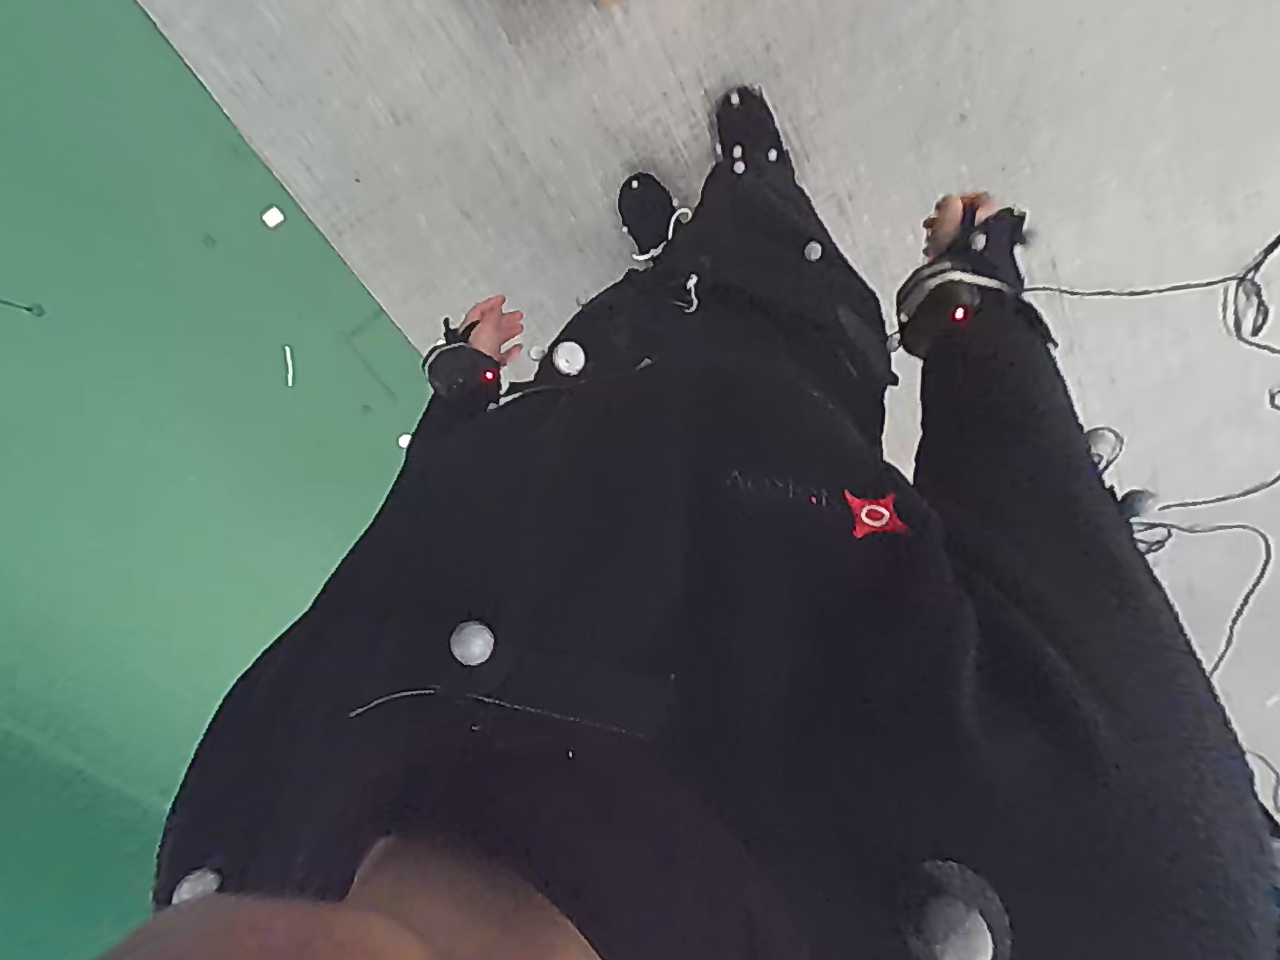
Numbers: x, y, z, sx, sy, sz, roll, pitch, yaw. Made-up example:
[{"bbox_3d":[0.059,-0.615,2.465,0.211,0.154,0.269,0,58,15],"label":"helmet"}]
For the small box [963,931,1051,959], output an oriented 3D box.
[{"bbox_3d":[0.878,1.183,1.259,0.179,0.176,0.168,-19,122,17],"label":"small box"}]
